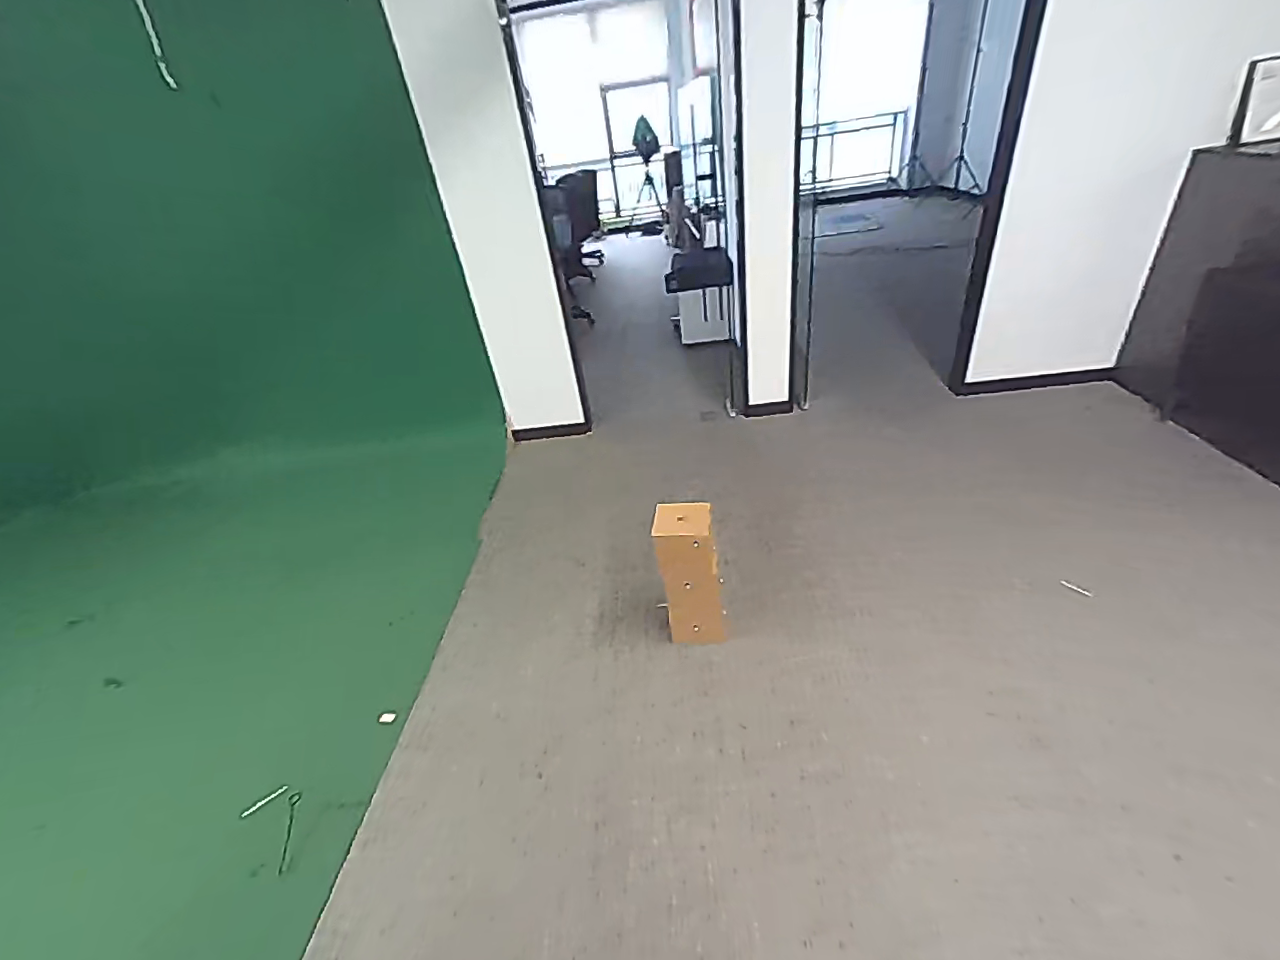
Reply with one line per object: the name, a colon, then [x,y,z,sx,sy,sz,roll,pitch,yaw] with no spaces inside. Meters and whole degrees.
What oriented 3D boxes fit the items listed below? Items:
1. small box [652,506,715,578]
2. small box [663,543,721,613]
small box: [0.143,0.201,1.734,0.179,0.176,0.168,-2,34,11]
small box: [0.179,0.334,1.822,0.179,0.176,0.168,-4,34,9]
